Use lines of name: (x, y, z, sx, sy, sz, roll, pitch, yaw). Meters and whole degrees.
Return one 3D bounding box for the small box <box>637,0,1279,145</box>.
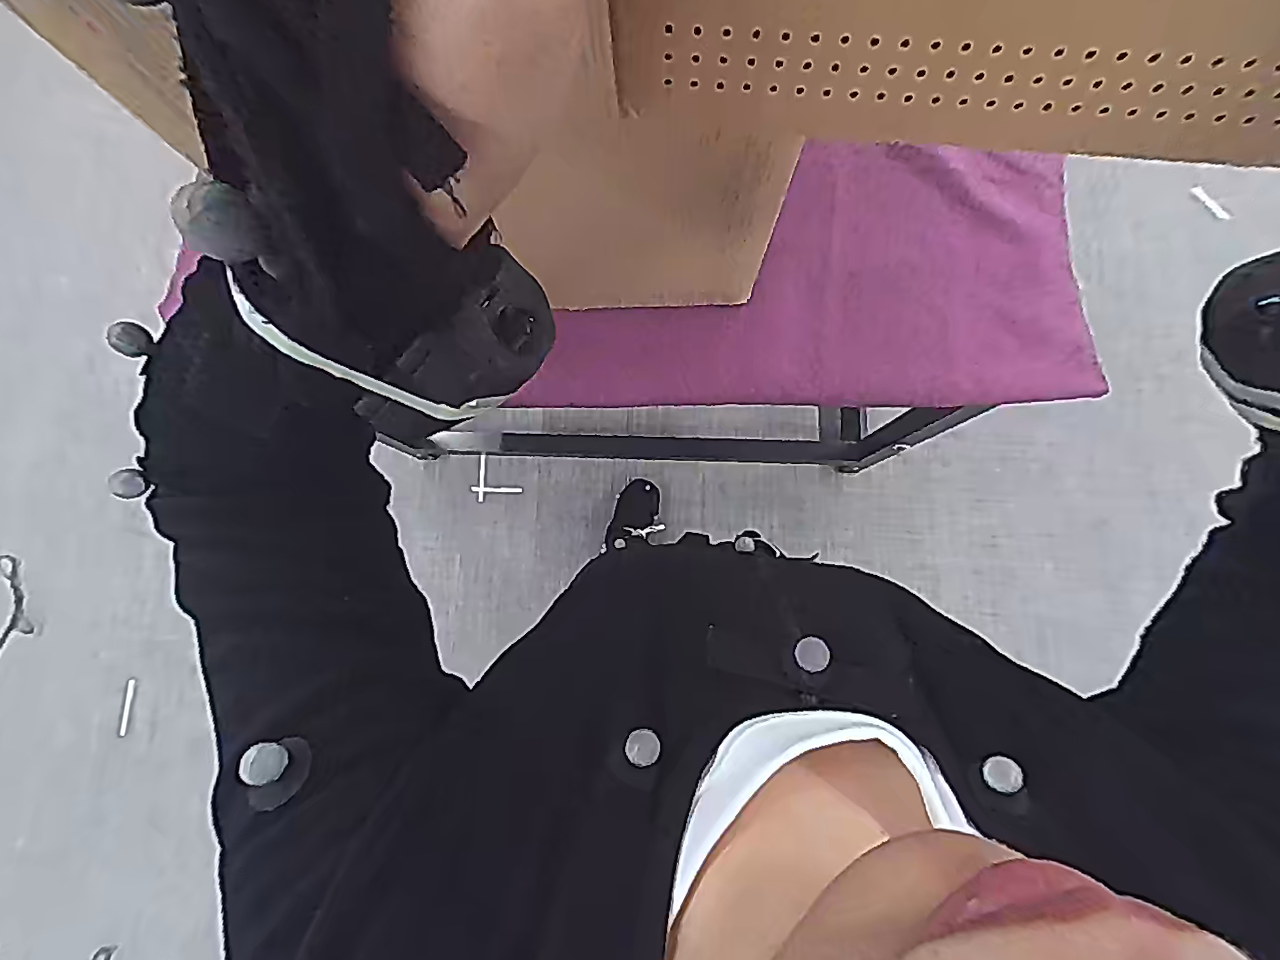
small box: (0.090, -0.182, 0.075, 0.179, 0.176, 0.168, 6, 80, 2)
